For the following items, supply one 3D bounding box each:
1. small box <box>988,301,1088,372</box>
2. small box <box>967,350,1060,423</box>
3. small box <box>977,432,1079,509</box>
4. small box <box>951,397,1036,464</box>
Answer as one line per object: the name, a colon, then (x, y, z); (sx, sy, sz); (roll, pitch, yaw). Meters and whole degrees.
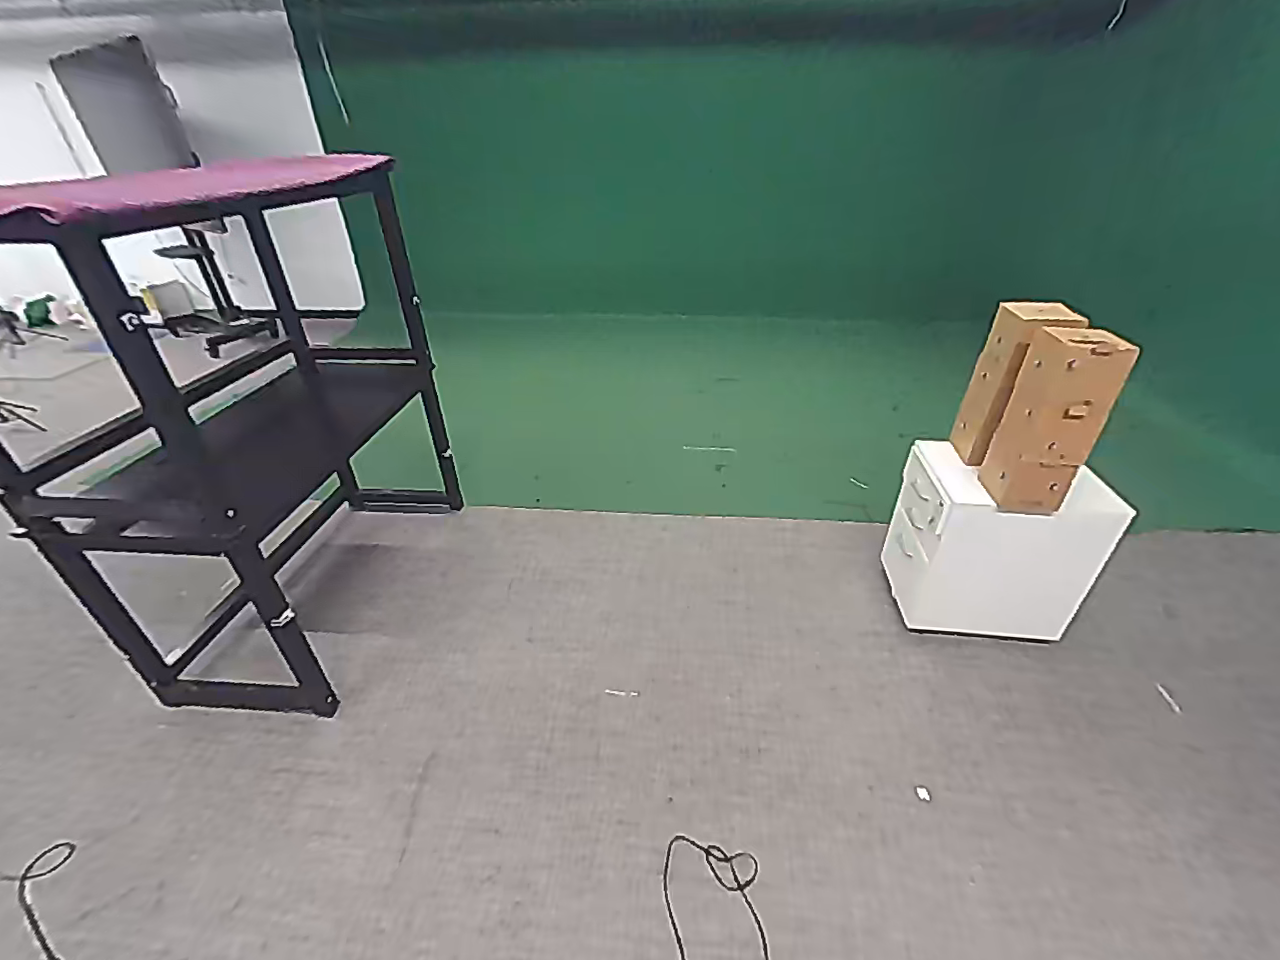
small box: (1.186, -0.434, 1.634); (0.179, 0.176, 0.168); (4, 35, 6)
small box: (1.183, -0.301, 1.732); (0.168, 0.176, 0.179); (4, 35, 6)
small box: (1.152, -0.028, 1.620); (0.168, 0.176, 0.179); (4, 31, 5)
small box: (1.180, -0.164, 1.823); (0.168, 0.176, 0.179); (3, 34, 7)
